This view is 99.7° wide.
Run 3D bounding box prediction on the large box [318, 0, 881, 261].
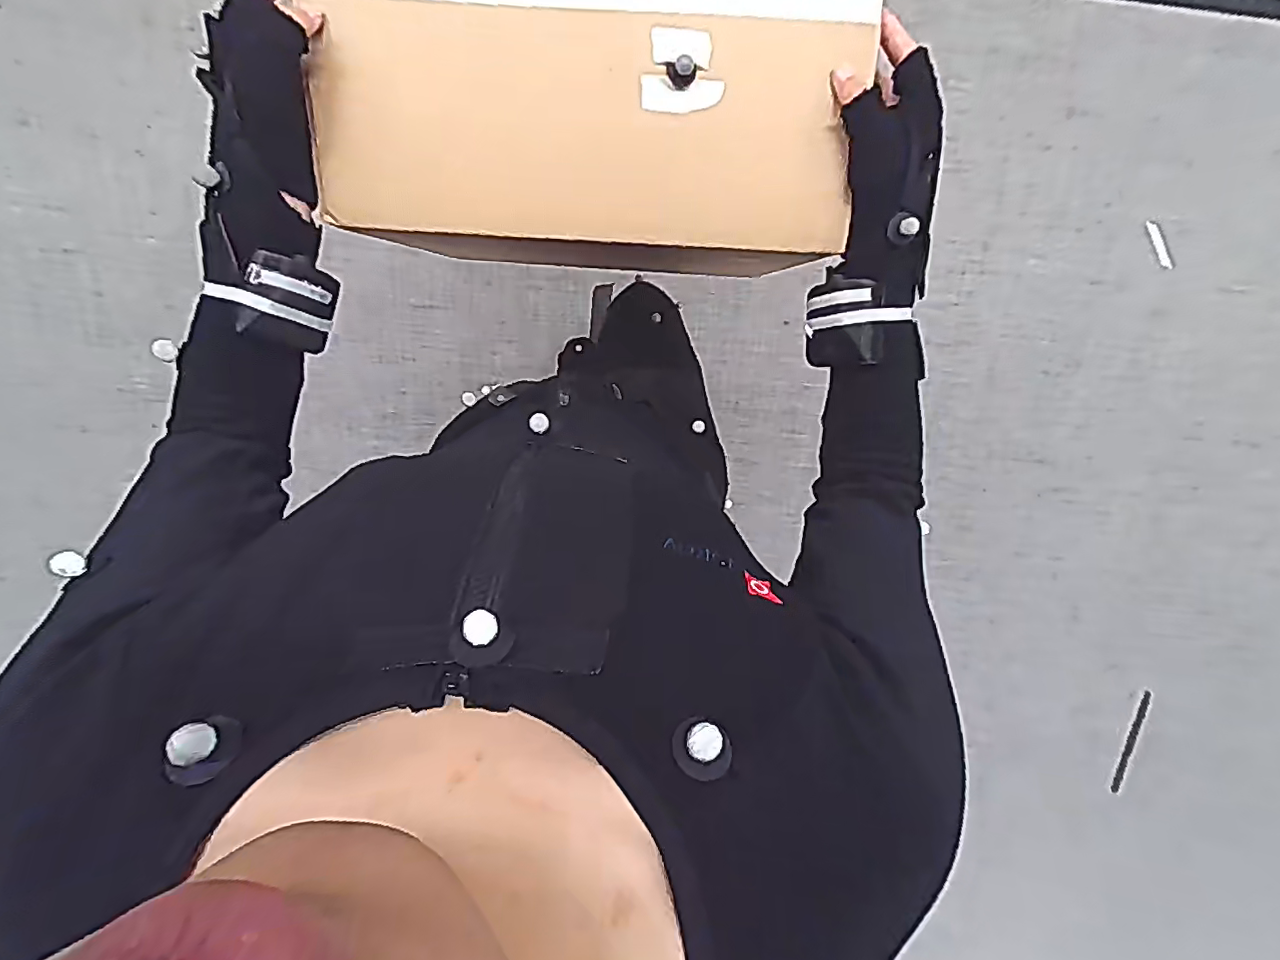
[{"bbox_3d":[-0.030,-0.393,0.519,0.408,0.320,0.320,2,108,-2],"label":"large box"}]
